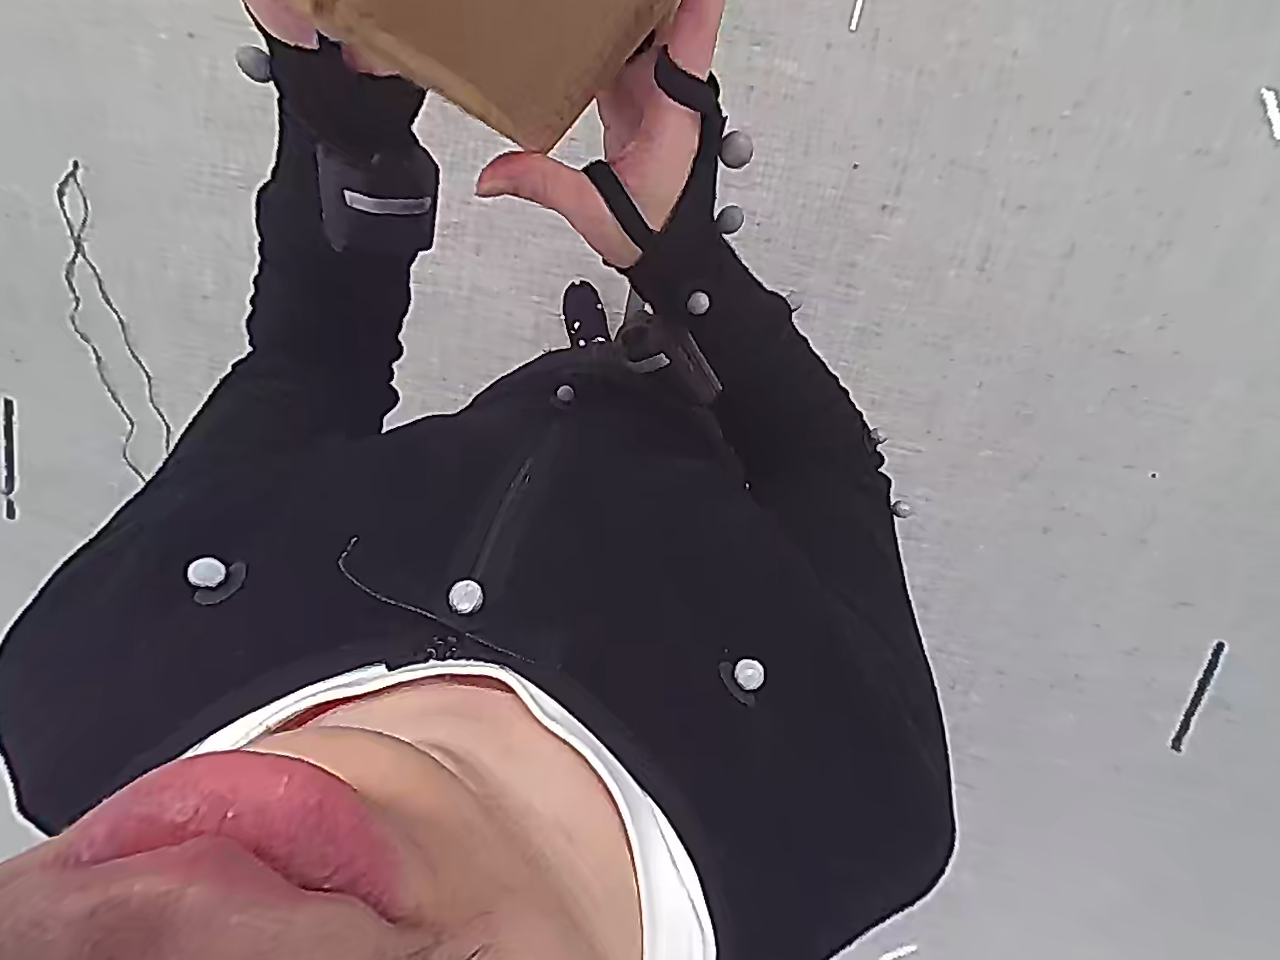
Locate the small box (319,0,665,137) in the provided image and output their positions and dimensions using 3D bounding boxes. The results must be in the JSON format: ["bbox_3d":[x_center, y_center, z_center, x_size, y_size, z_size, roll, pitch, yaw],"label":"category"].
[{"bbox_3d":[-0.046,-0.231,0.139,0.179,0.176,0.168,-40,104,18],"label":"small box"}]
